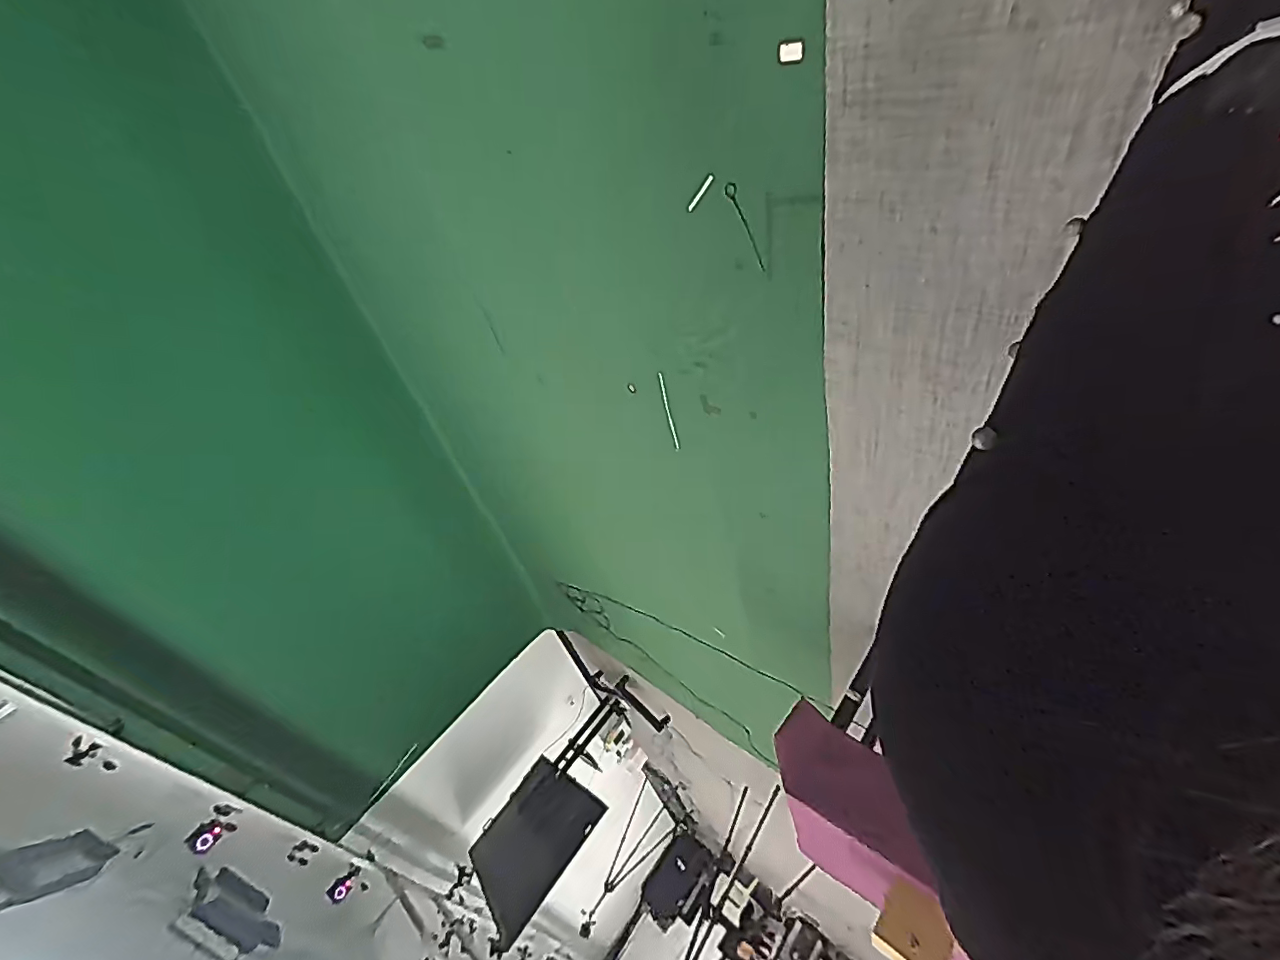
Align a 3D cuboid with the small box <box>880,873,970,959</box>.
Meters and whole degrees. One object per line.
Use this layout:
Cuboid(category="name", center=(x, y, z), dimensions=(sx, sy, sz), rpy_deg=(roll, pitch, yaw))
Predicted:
Cuboid(category="small box", center=(0.786, 1.240, 1.491), dimensions=(0.179, 0.176, 0.168), rpy_deg=(20, 143, 38))
